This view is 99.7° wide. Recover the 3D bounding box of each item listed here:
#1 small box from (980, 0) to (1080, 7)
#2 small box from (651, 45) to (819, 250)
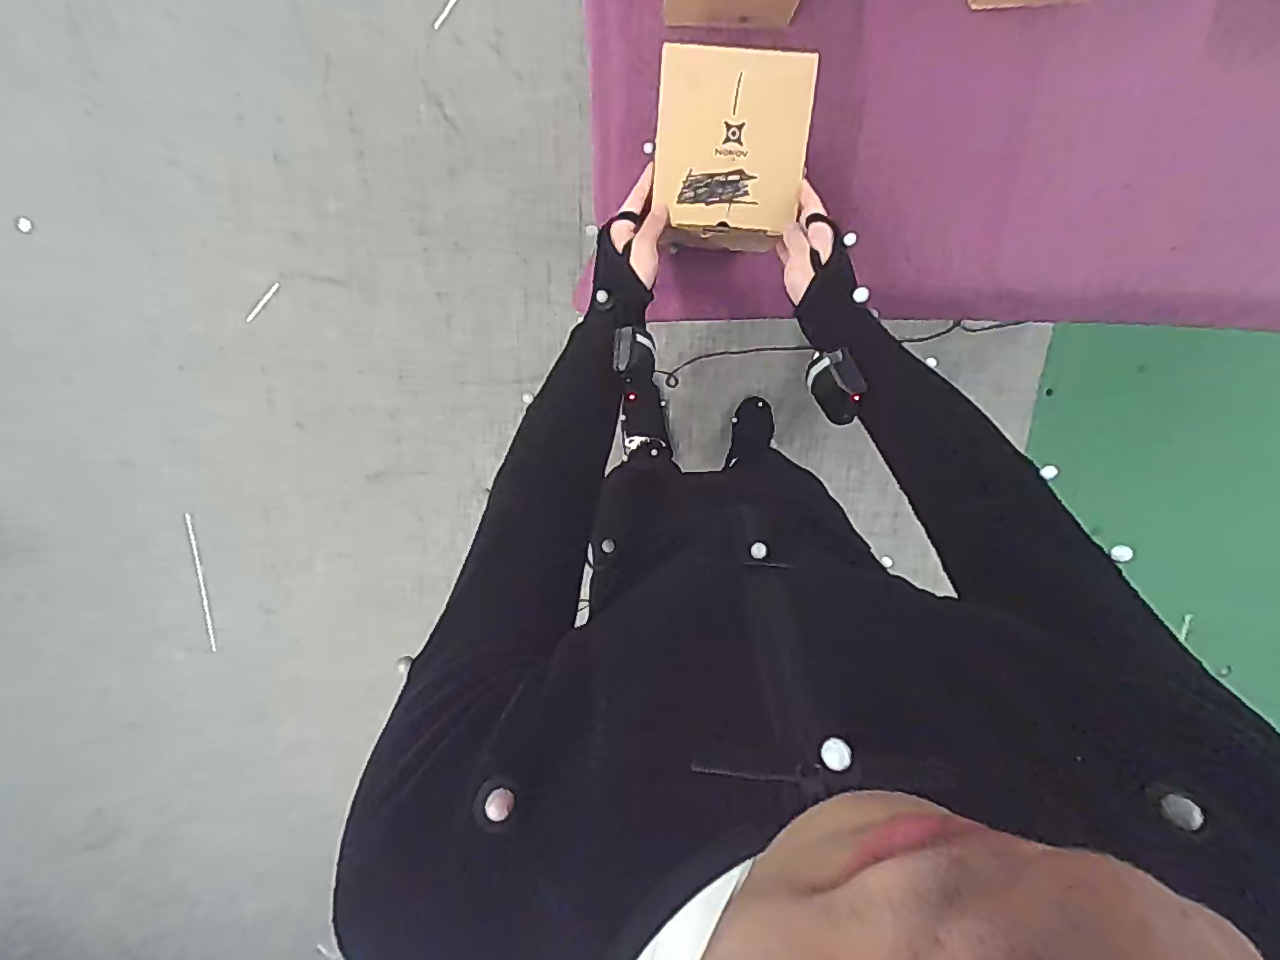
[{"bbox_3d":[0.514,-0.696,0.619,0.168,0.176,0.179,-3,105,0],"label":"small box"},{"bbox_3d":[0.102,-0.388,0.666,0.168,0.176,0.179,4,106,0],"label":"small box"}]
